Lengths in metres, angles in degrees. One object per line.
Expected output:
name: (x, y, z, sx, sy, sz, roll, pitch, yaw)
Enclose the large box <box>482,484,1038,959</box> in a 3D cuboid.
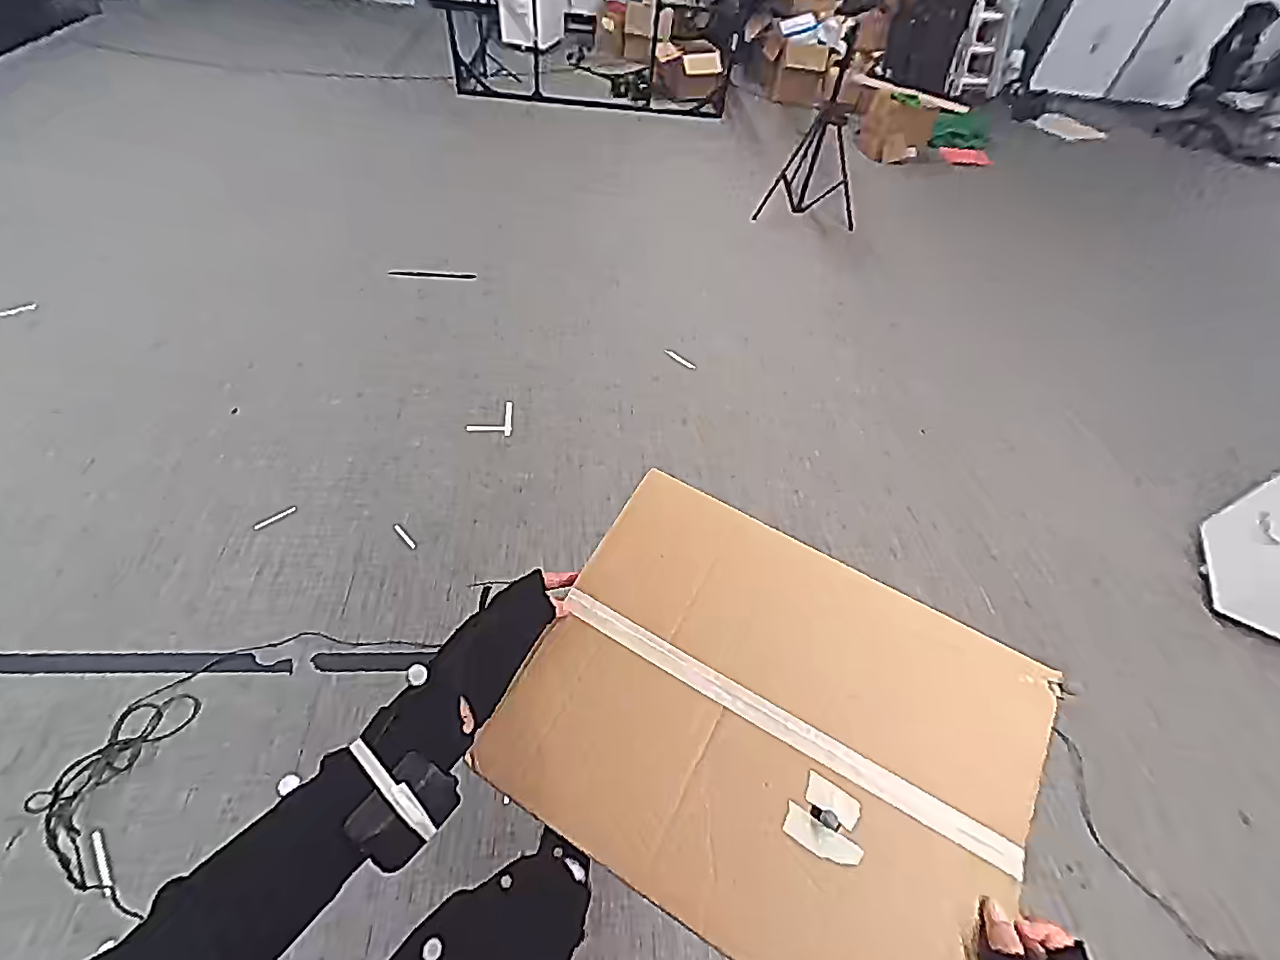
large box: (0.109, 0.272, 0.598, 0.408, 0.320, 0.320, 28, 67, 13)
